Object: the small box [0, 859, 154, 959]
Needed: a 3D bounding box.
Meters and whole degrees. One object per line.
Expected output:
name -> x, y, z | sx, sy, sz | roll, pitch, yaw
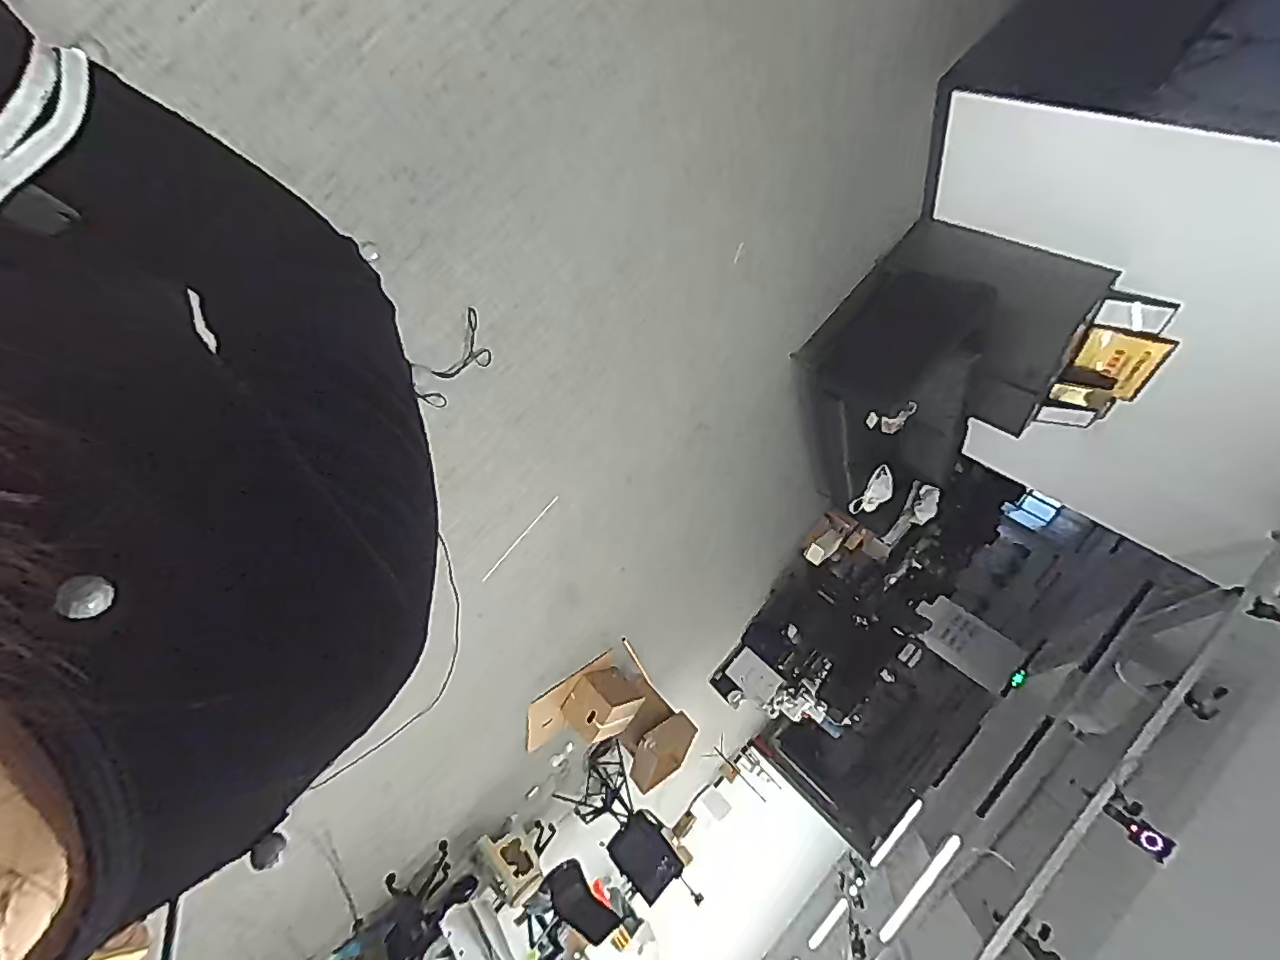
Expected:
small box -> -0.884, 0.698, 0.794 | 0.168, 0.176, 0.179 | -46, 148, -9
